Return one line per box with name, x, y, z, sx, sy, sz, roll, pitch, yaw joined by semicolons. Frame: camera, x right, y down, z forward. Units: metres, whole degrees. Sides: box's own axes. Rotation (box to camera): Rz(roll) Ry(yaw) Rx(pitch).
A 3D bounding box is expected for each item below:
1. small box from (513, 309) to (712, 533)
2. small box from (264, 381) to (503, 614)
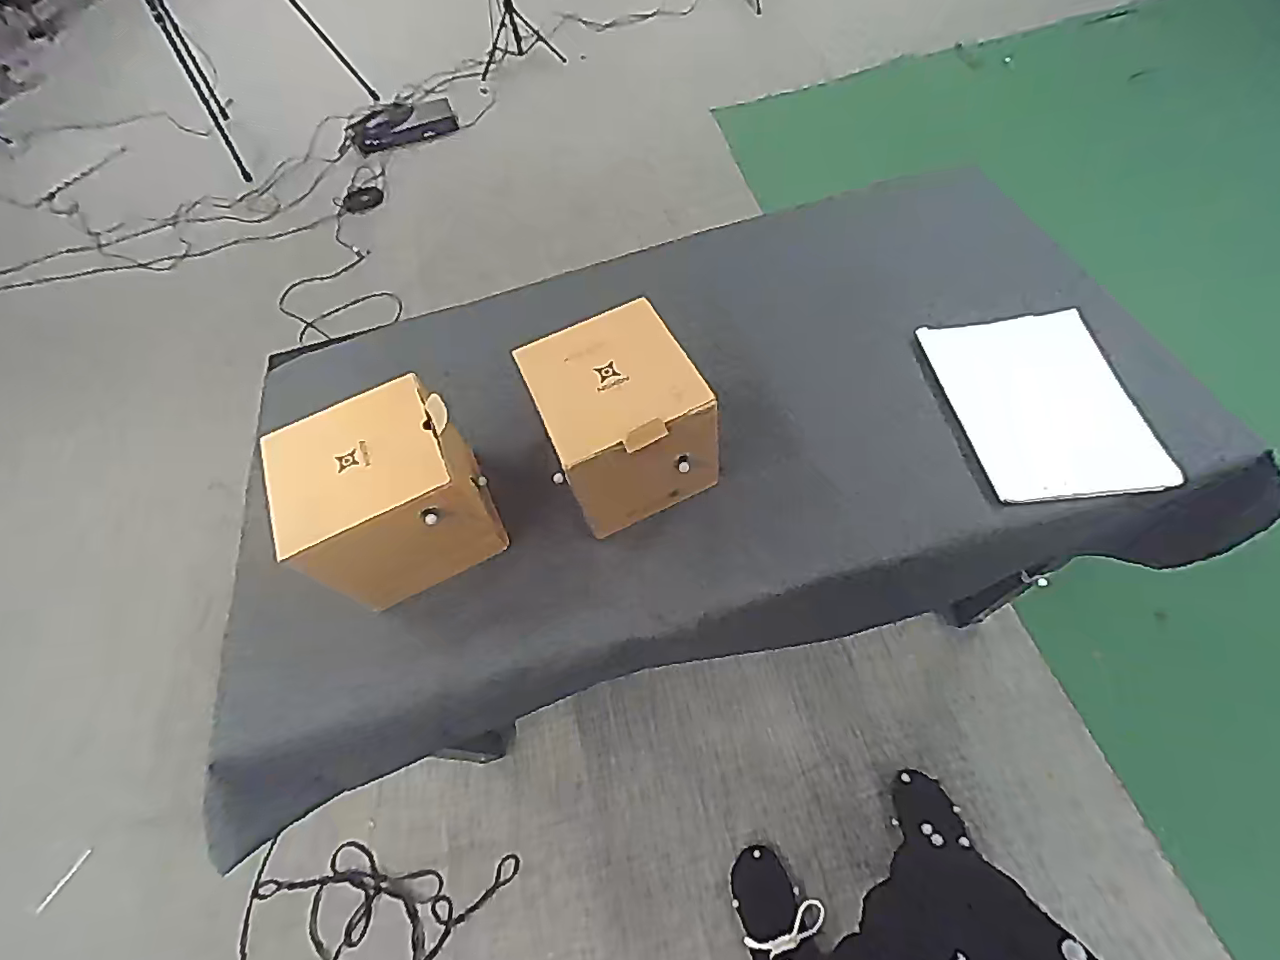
small box;-0.024;-0.058;0.632;0.168;0.176;0.179;-24;57;-8
small box;-0.283;0.026;0.617;0.179;0.176;0.168;-26;58;-9
